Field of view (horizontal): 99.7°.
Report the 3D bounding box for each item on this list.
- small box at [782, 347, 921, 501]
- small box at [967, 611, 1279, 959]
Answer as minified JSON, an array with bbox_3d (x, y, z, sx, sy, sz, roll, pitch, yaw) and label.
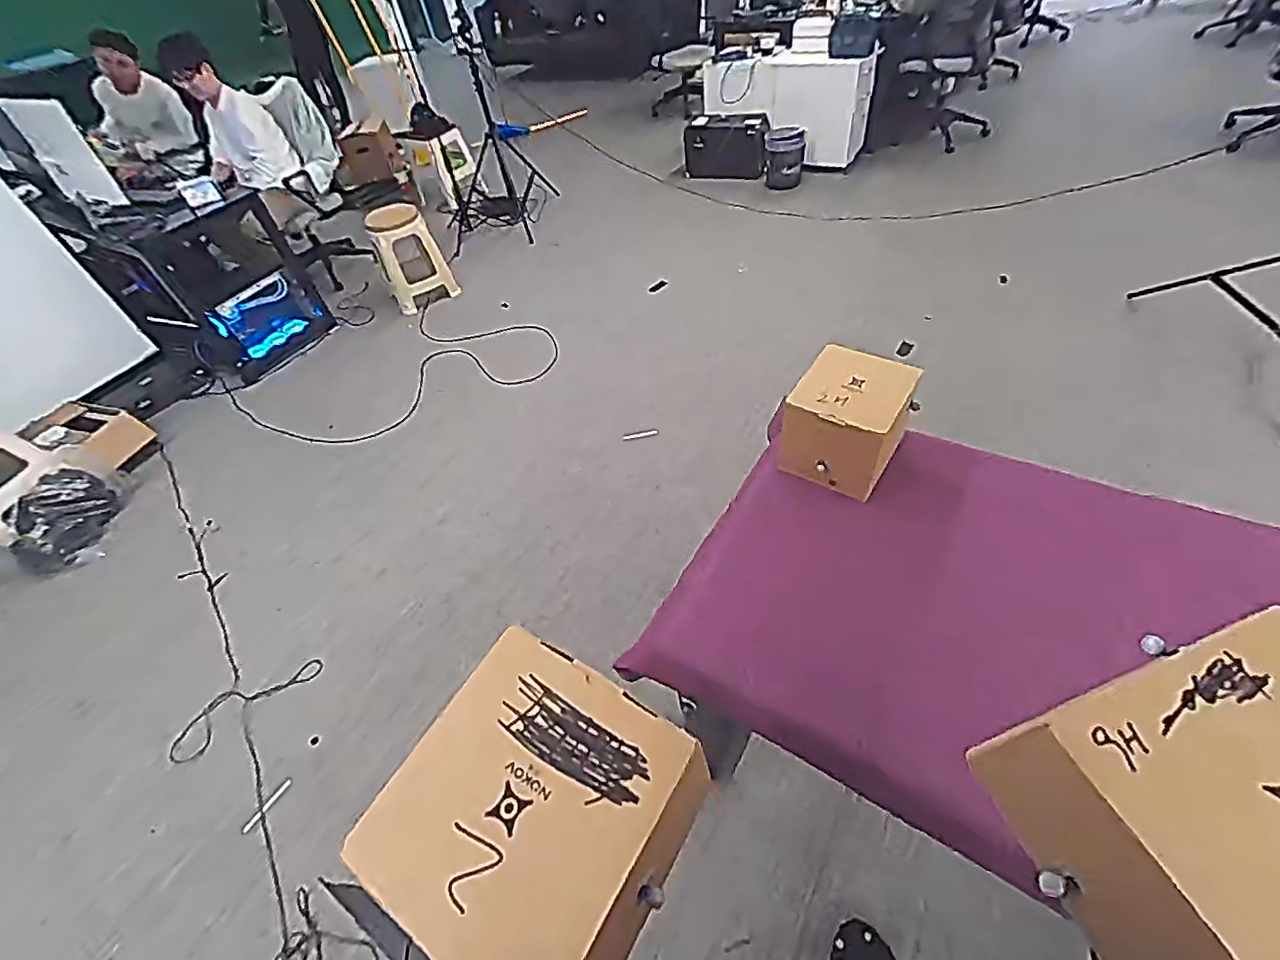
[{"bbox_3d":[0.360,-0.098,0.947,0.168,0.176,0.179,25,59,28],"label":"small box"},{"bbox_3d":[0.357,0.216,0.345,0.168,0.176,0.179,-24,55,-3],"label":"small box"}]
